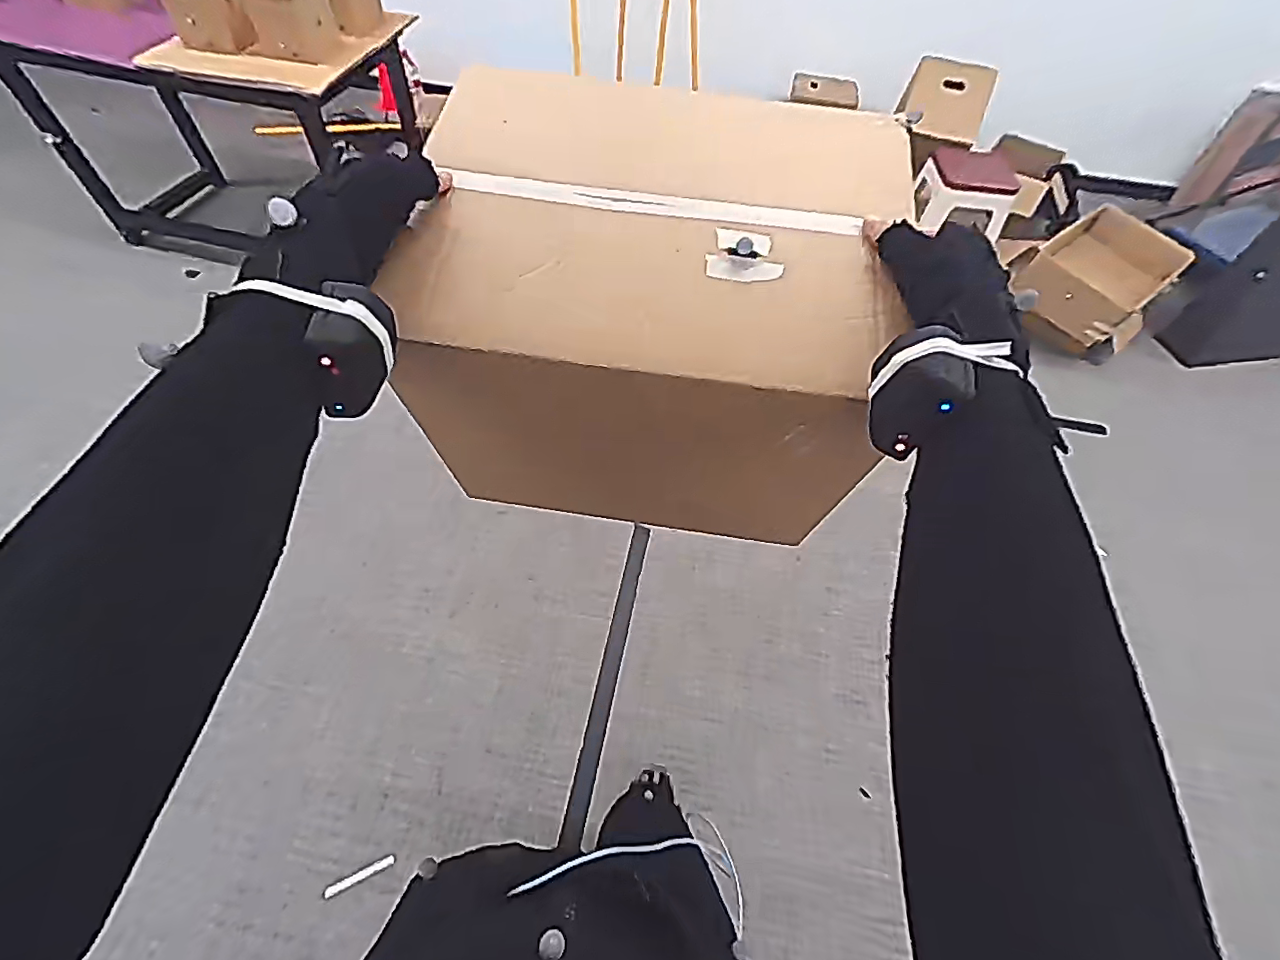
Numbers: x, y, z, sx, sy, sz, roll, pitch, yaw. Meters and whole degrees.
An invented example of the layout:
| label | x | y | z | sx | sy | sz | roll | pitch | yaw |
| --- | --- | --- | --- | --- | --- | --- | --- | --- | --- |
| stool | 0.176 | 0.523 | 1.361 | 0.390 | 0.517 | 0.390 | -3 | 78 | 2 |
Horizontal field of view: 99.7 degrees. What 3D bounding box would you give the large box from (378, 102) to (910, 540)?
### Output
| label | x | y | z | sx | sy | sz | roll | pitch | yaw |
| --- | --- | --- | --- | --- | --- | --- | --- | --- | --- |
| large box | 0.012 | -0.145 | 0.591 | 0.408 | 0.320 | 0.320 | 8 | 66 | 1 |
